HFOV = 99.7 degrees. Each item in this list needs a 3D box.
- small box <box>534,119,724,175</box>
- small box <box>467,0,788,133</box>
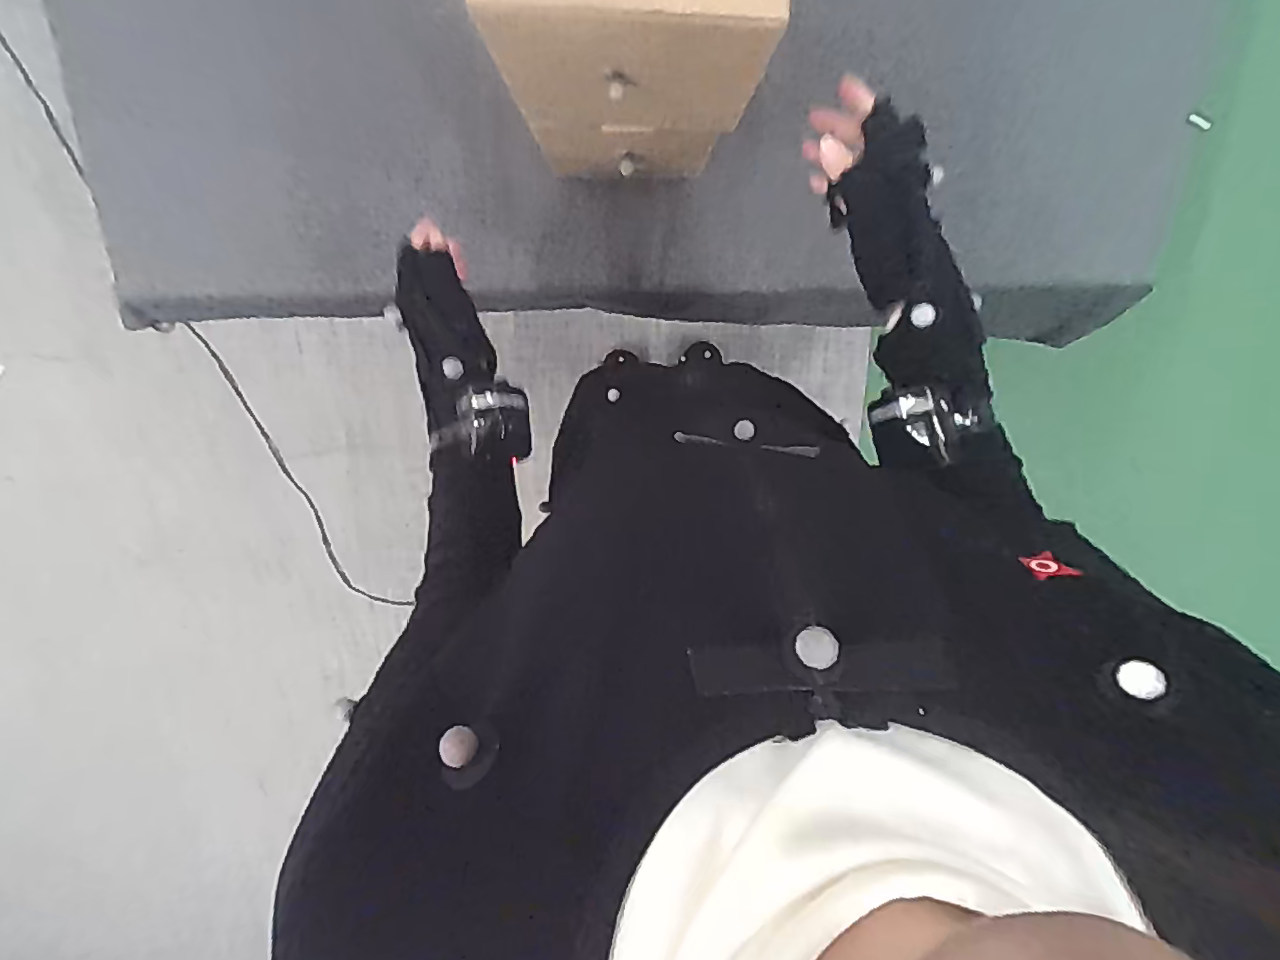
[{"bbox_3d":[-0.008,-0.399,0.508,0.168,0.176,0.179,-1,106,1],"label":"small box"},{"bbox_3d":[-0.003,-0.347,0.350,0.179,0.176,0.168,2,105,1],"label":"small box"}]
